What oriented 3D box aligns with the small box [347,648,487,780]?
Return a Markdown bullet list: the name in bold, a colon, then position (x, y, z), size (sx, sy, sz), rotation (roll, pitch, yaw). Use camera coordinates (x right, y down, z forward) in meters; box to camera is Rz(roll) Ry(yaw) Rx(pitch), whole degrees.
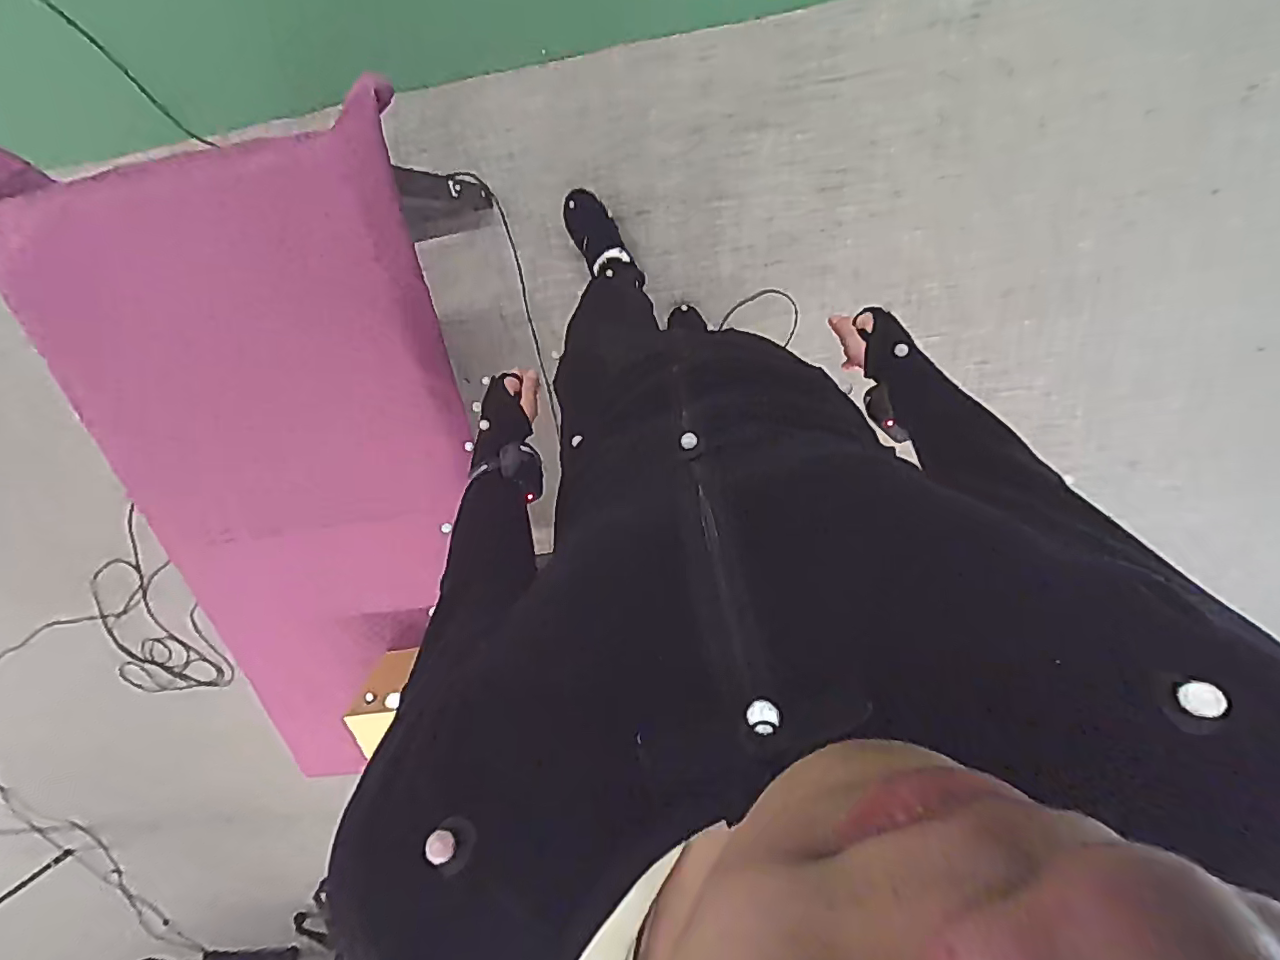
- **small box**: position (-0.412, 0.444, 1.043), size (0.179, 0.176, 0.168), rotation (-9, 113, 9)
